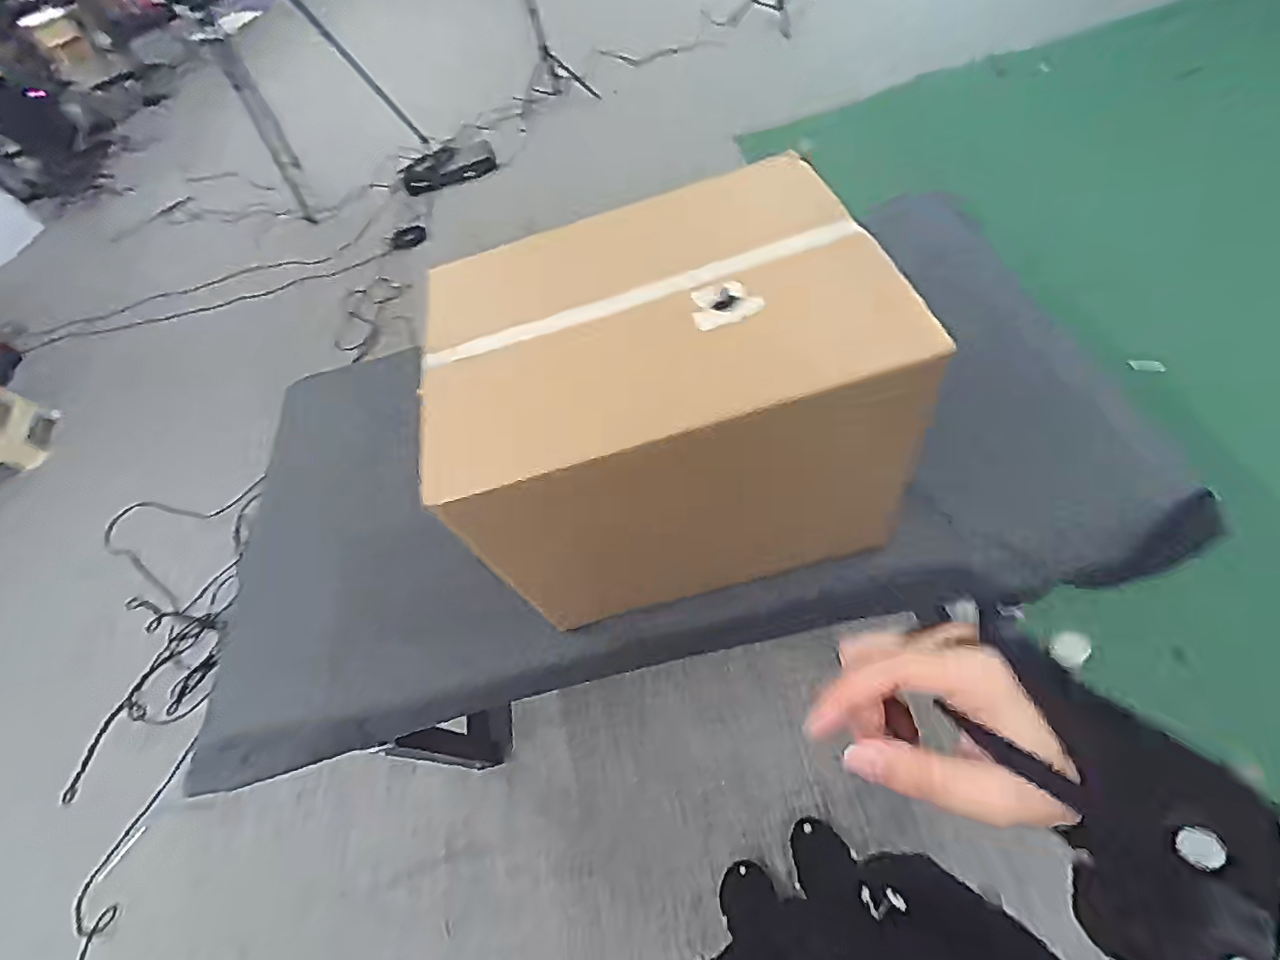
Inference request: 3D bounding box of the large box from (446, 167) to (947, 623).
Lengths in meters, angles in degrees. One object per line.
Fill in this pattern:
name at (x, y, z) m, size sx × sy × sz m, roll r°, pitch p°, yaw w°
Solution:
large box at (0.039, -0.076, 0.614) m, size 0.408 × 0.320 × 0.320 m, roll -16°, pitch 56°, yaw 3°
